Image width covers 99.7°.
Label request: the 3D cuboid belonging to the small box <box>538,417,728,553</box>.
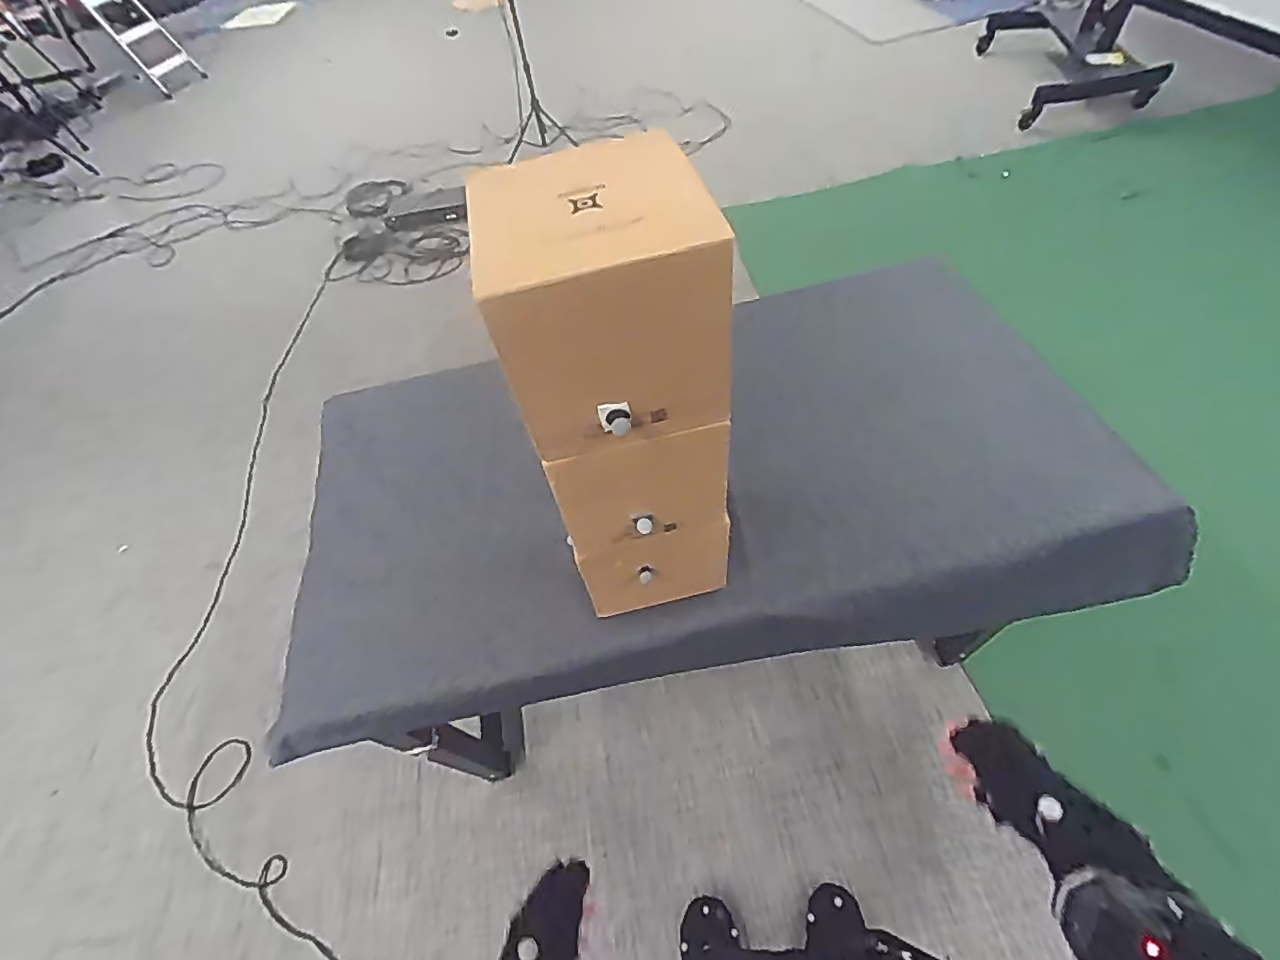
[{"bbox_3d":[-0.012,-0.049,0.574,0.168,0.176,0.179,-12,54,-2],"label":"small box"}]

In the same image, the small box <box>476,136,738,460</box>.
[{"bbox_3d":[-0.027,-0.145,0.446,0.168,0.176,0.179,-14,54,-2],"label":"small box"}]

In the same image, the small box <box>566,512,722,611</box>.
[{"bbox_3d":[0.003,0.052,0.704,0.179,0.176,0.168,-12,53,-2],"label":"small box"}]
